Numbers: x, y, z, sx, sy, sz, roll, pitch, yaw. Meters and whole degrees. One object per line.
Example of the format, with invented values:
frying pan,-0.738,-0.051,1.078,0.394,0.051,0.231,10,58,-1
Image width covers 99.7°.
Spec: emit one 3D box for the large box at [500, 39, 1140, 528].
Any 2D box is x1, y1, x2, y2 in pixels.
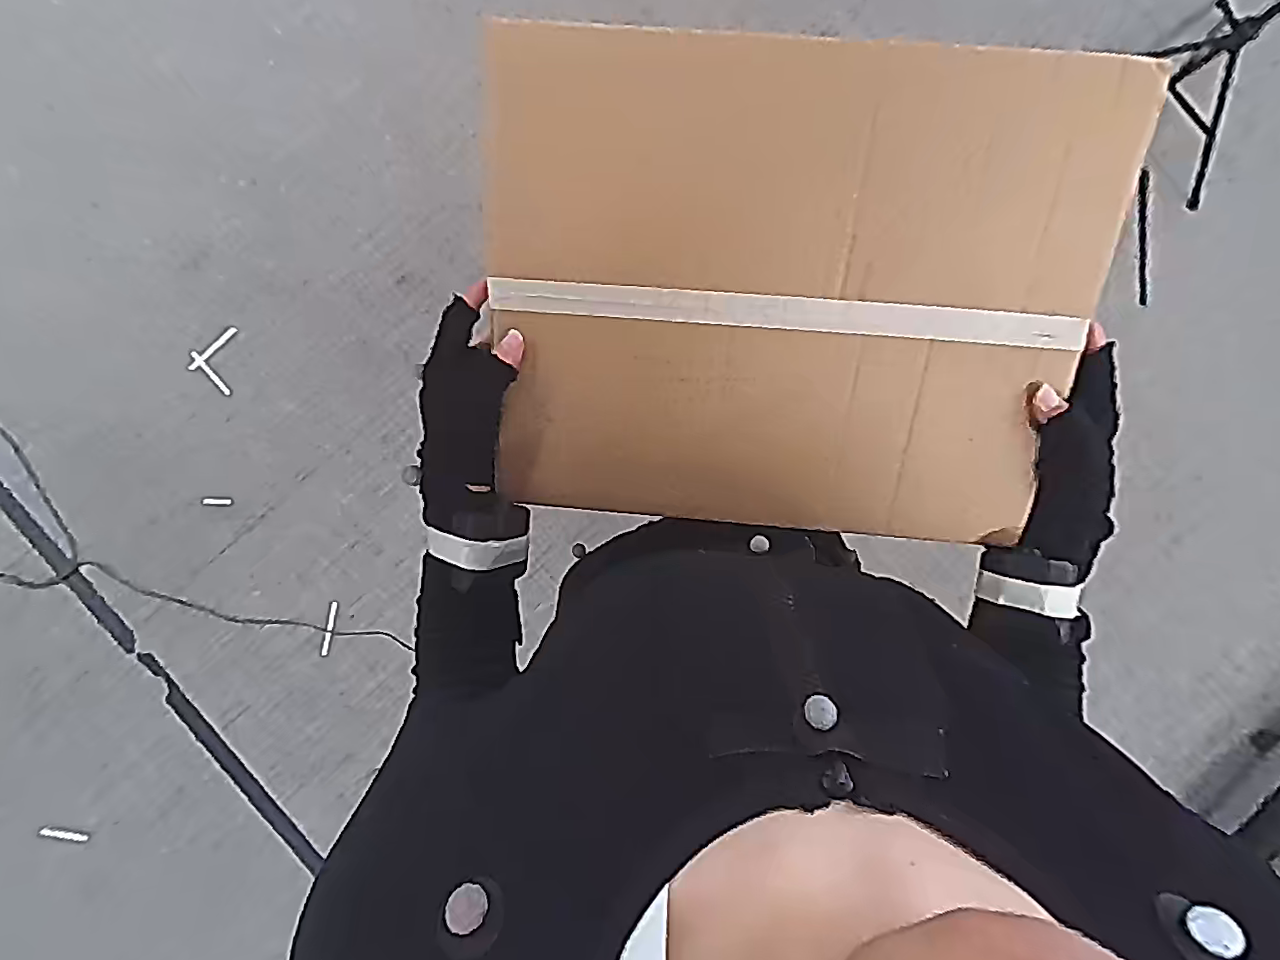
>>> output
large box,0.106,-0.167,0.524,0.408,0.320,0.320,5,111,1
